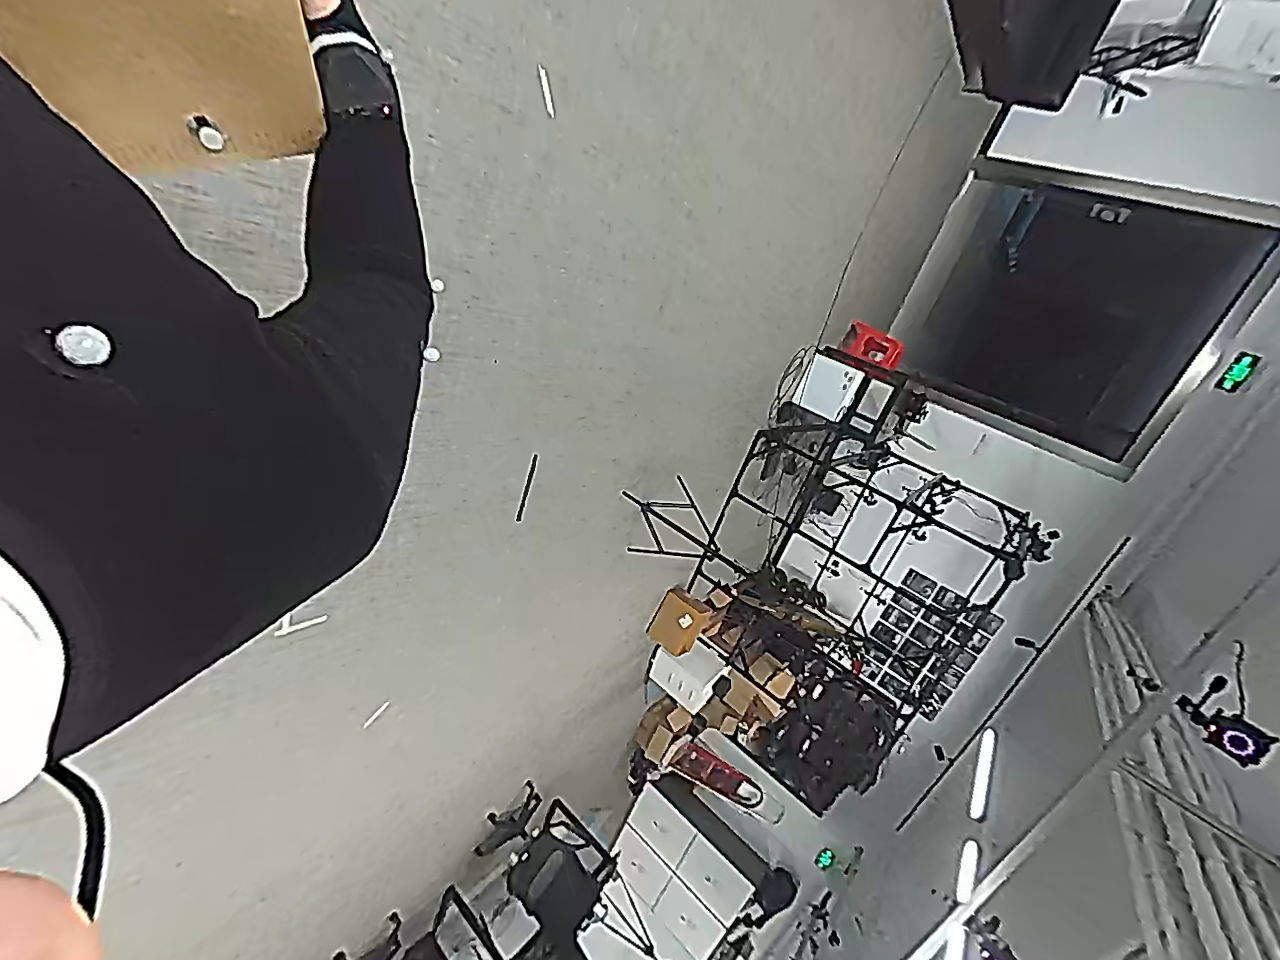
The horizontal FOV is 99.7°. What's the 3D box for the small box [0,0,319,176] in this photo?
[{"bbox_3d":[-0.354,-0.353,0.386,0.179,0.168,0.176,-24,179,-23],"label":"small box"}]
